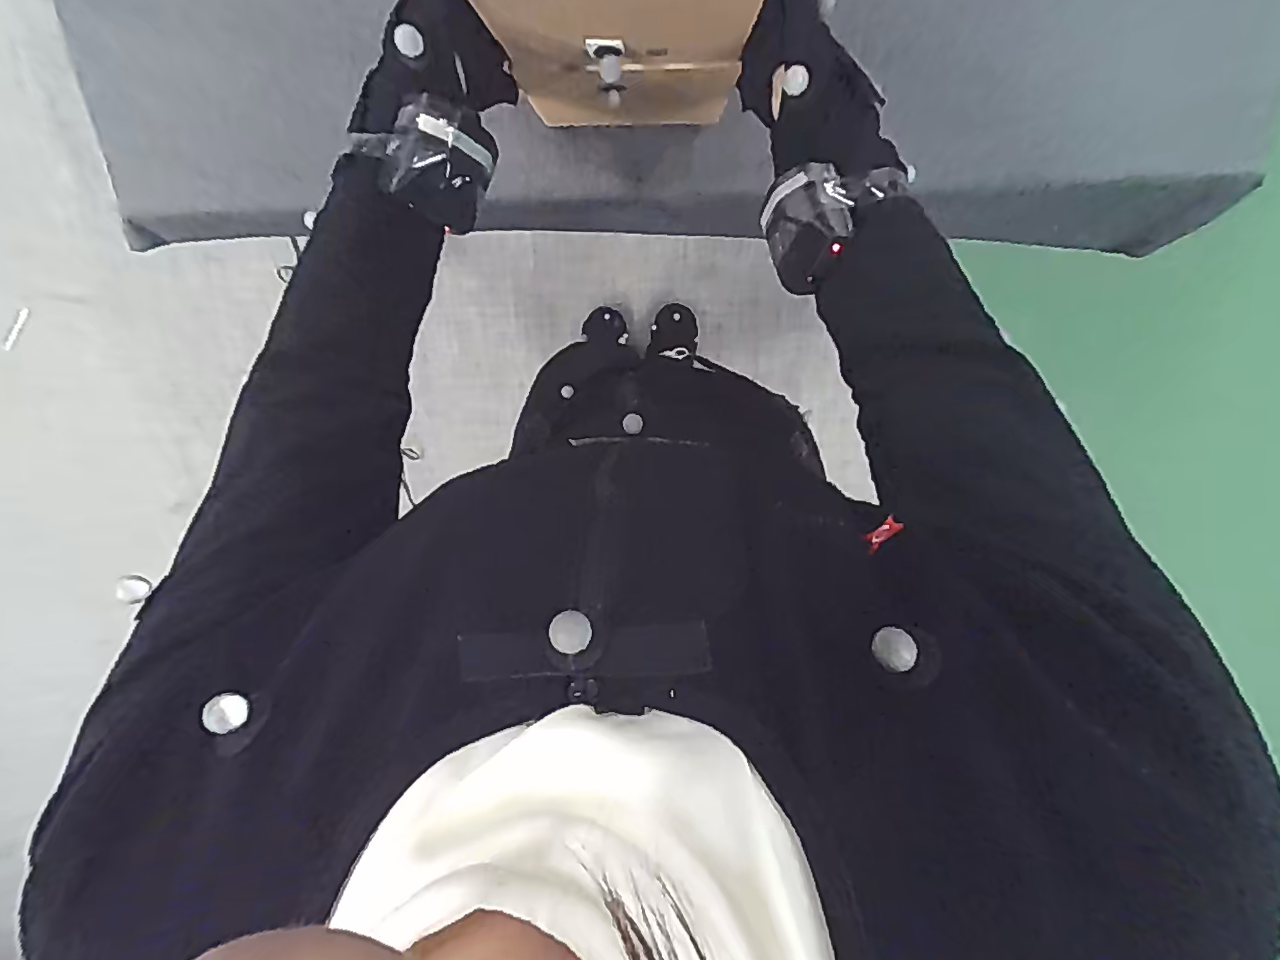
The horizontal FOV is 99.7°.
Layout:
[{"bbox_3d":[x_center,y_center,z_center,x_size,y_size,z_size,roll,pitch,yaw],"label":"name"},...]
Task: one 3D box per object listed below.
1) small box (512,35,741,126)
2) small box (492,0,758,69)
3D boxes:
[{"bbox_3d":[-0.009,-0.417,0.462,0.179,0.176,0.168,-1,112,1],"label":"small box"},{"bbox_3d":[-0.013,-0.358,0.293,0.168,0.176,0.179,-1,112,2],"label":"small box"}]
